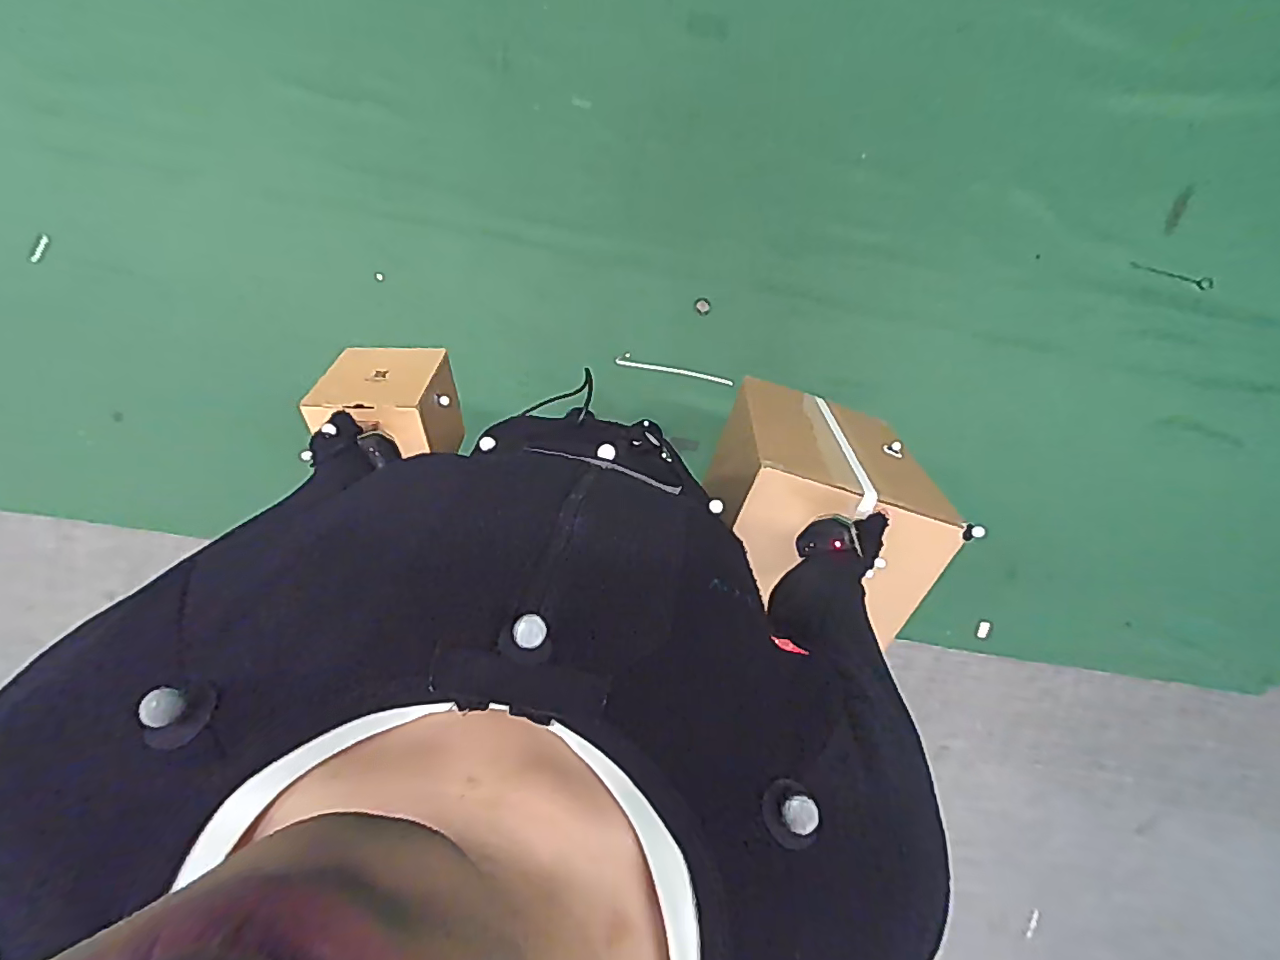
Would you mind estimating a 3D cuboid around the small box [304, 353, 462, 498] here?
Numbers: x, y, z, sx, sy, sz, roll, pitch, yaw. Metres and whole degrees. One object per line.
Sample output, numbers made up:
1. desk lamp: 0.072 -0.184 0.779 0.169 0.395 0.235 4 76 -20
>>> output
1. small box: -0.402 -0.091 0.885 0.168 0.179 0.176 0 131 -1
